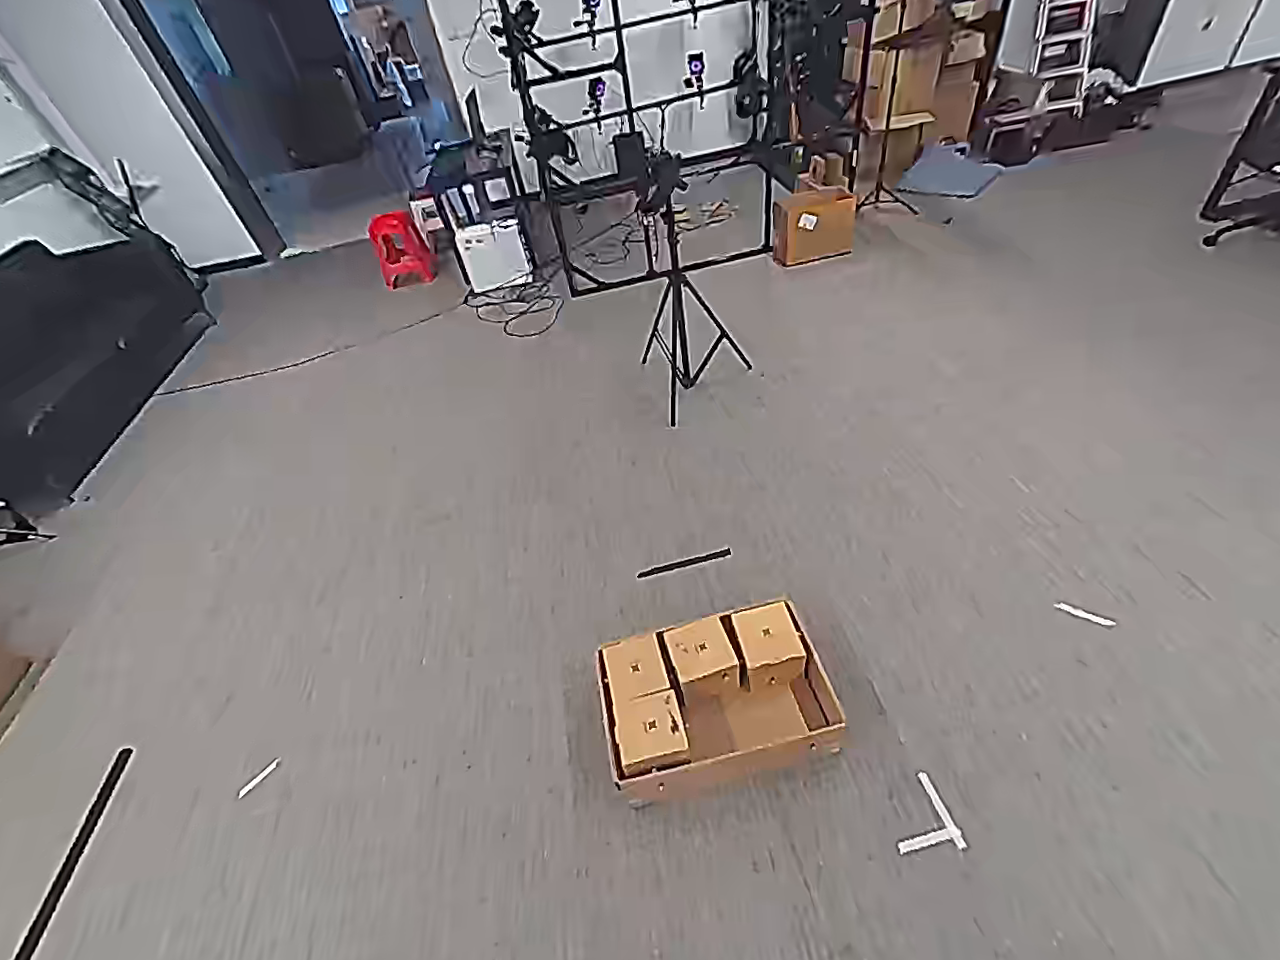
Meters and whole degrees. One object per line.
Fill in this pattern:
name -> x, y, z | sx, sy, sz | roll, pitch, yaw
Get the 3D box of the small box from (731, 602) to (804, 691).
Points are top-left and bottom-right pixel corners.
small box -> 0.373, 0.496, 1.604 | 0.168, 0.176, 0.179 | -15, 47, -1
